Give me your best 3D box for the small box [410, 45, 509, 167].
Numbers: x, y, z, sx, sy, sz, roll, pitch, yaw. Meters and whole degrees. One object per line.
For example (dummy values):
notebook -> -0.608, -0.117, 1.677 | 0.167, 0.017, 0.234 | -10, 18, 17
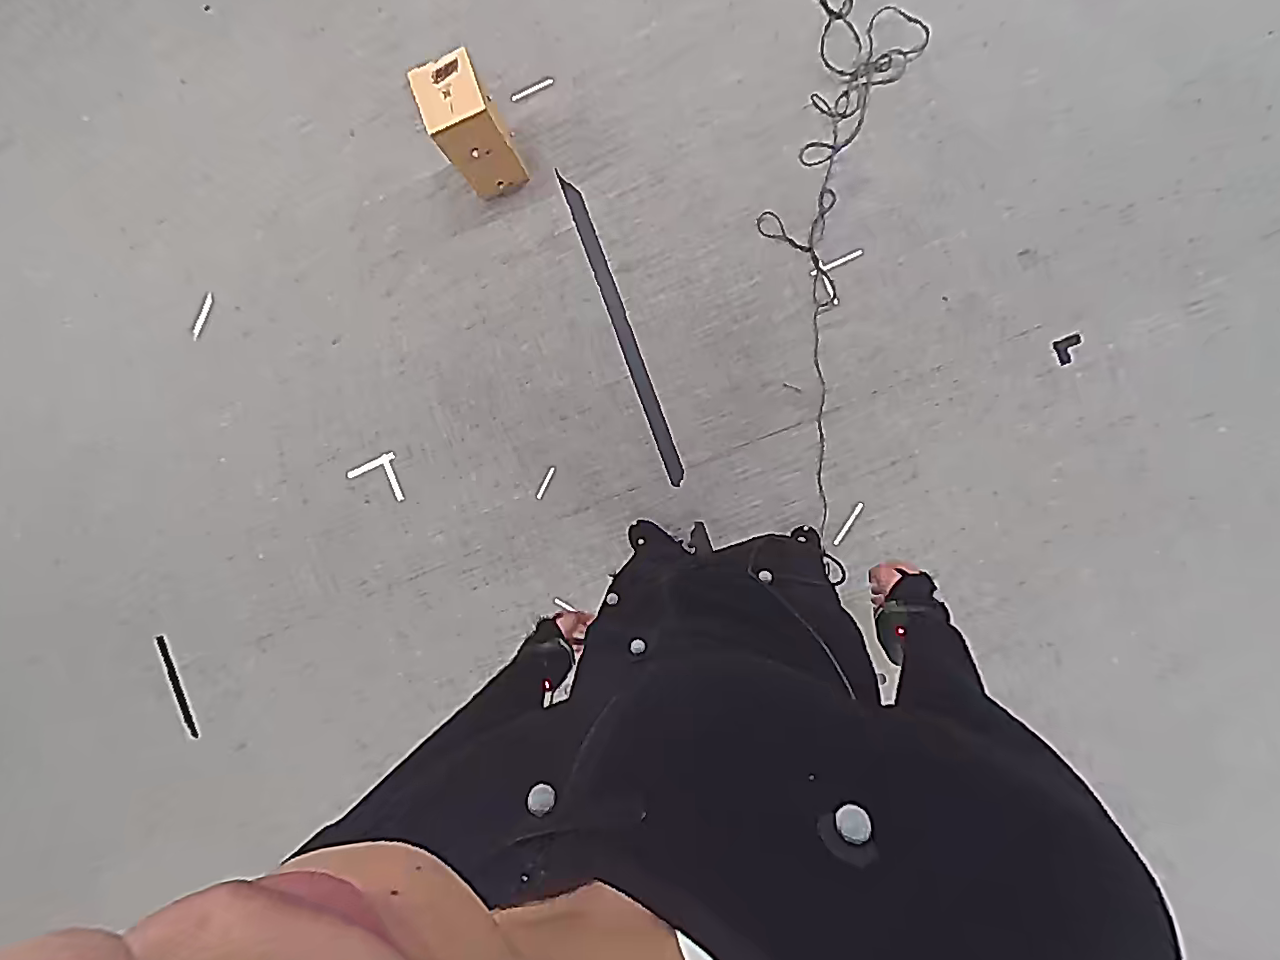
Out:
small box -> -0.473, -0.983, 1.437 | 0.168, 0.176, 0.179 | -20, 89, 7
